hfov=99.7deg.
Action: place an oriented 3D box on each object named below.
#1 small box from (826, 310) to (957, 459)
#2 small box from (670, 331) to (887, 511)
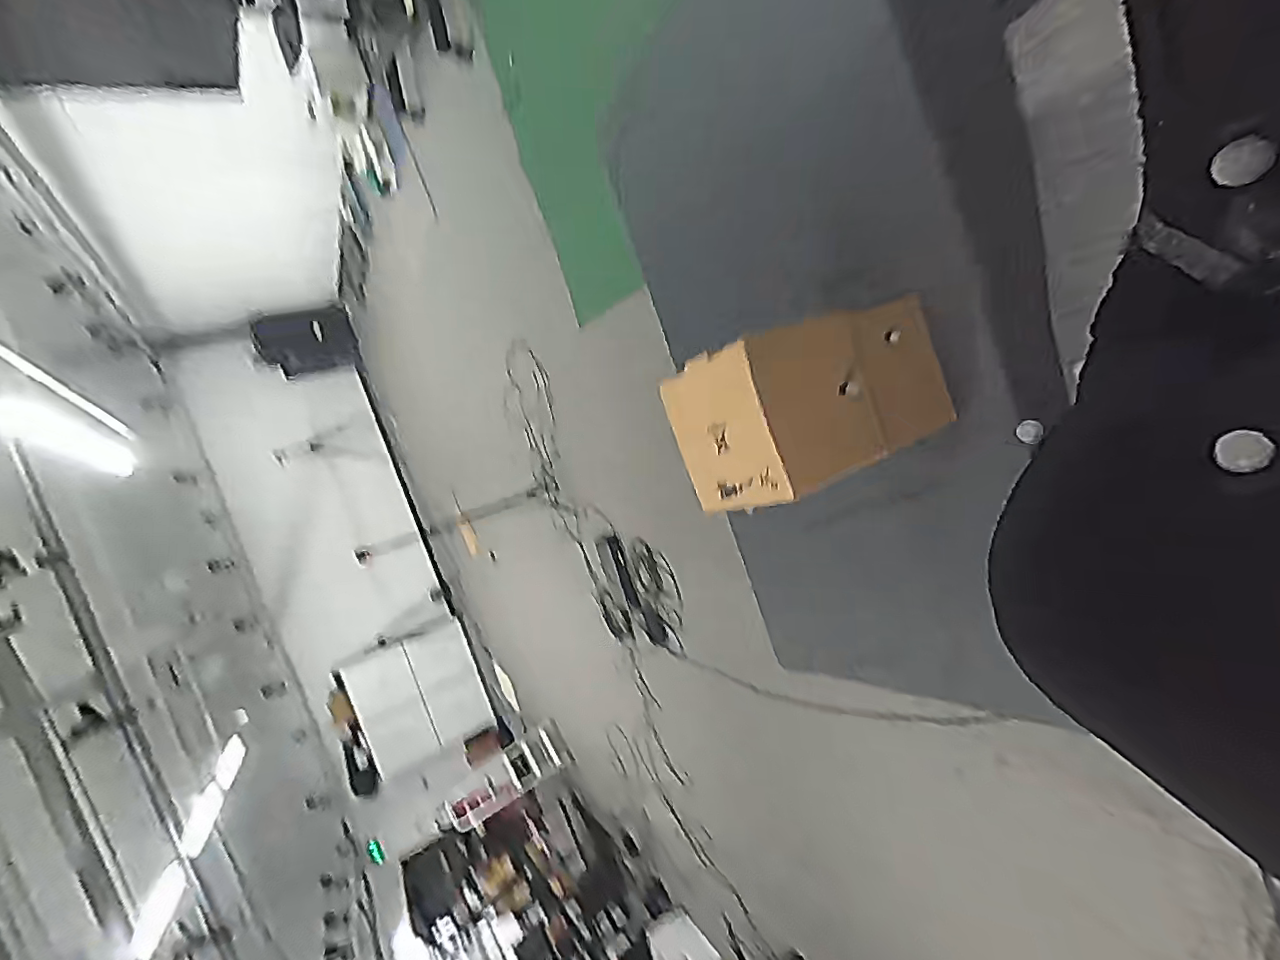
[{"bbox_3d":[0.301,-0.123,0.759,0.168,0.176,0.179,-18,95,61],"label":"small box"},{"bbox_3d":[0.170,-0.074,0.674,0.168,0.176,0.179,-16,94,61],"label":"small box"}]
